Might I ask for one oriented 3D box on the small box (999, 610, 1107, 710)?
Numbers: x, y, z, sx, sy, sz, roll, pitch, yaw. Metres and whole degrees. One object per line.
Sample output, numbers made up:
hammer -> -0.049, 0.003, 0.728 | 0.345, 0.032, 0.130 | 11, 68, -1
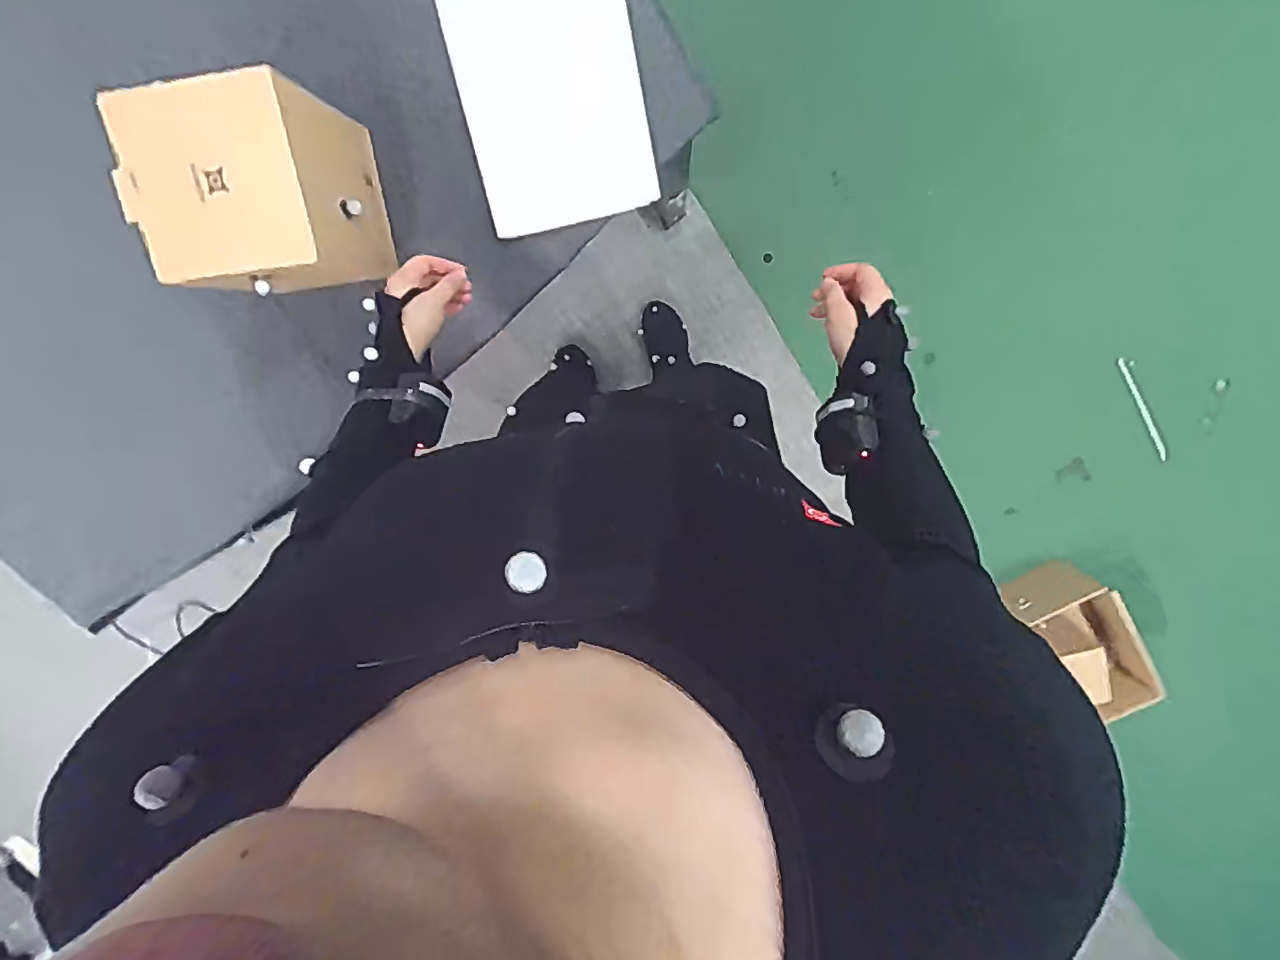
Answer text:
small box -> 1.119, 0.485, 1.472 | 0.168, 0.176, 0.179 | -18, 106, 9

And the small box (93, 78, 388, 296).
small box -> -0.400, -0.295, 0.584 | 0.179, 0.176, 0.168 | -6, 106, 6
